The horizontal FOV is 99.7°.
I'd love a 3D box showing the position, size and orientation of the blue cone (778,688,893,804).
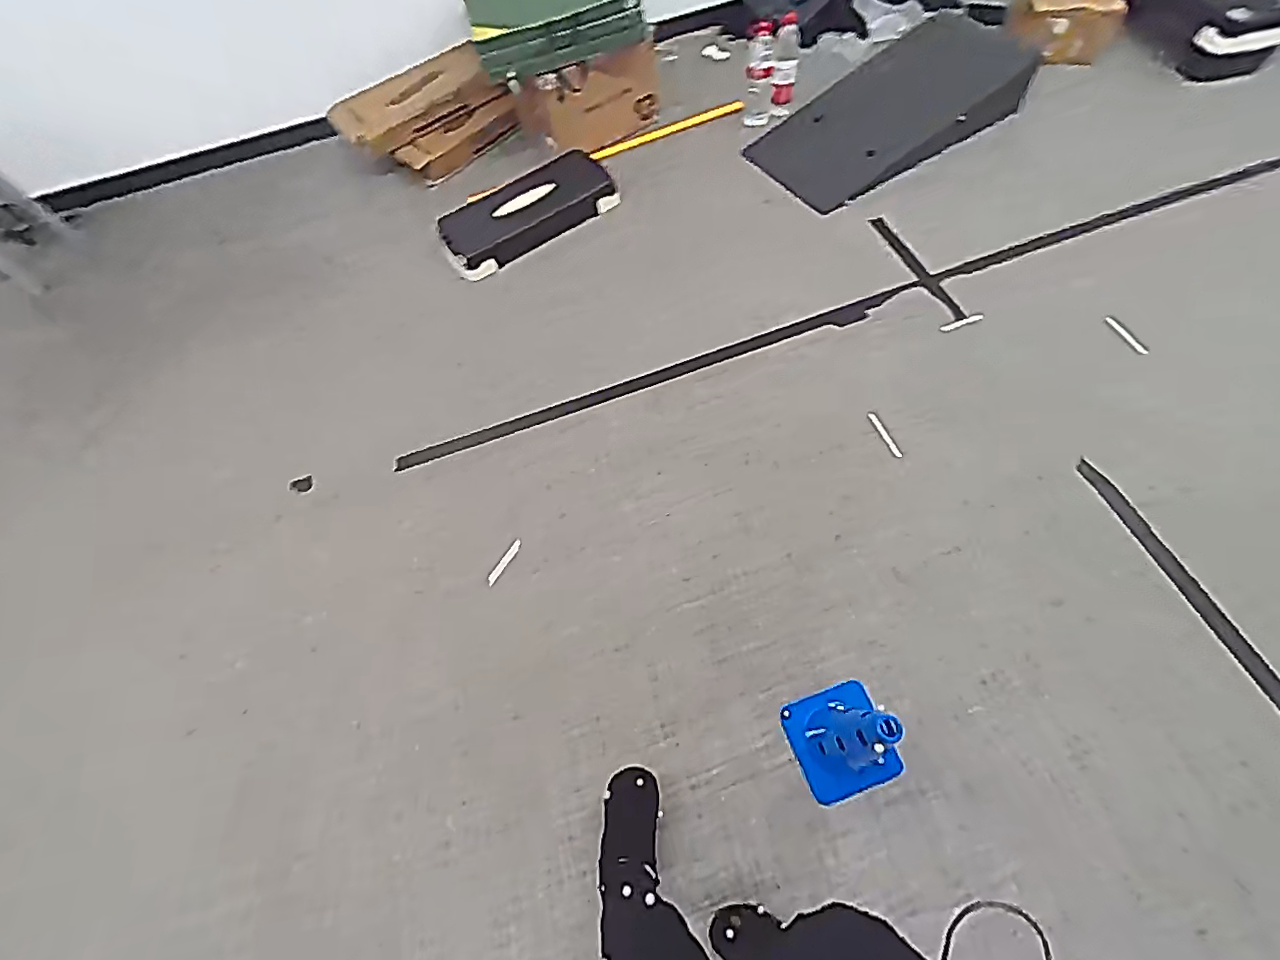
[{"bbox_3d":[0.393,0.477,0.996,0.192,0.380,0.193,-19,61,-3],"label":"blue cone"}]
